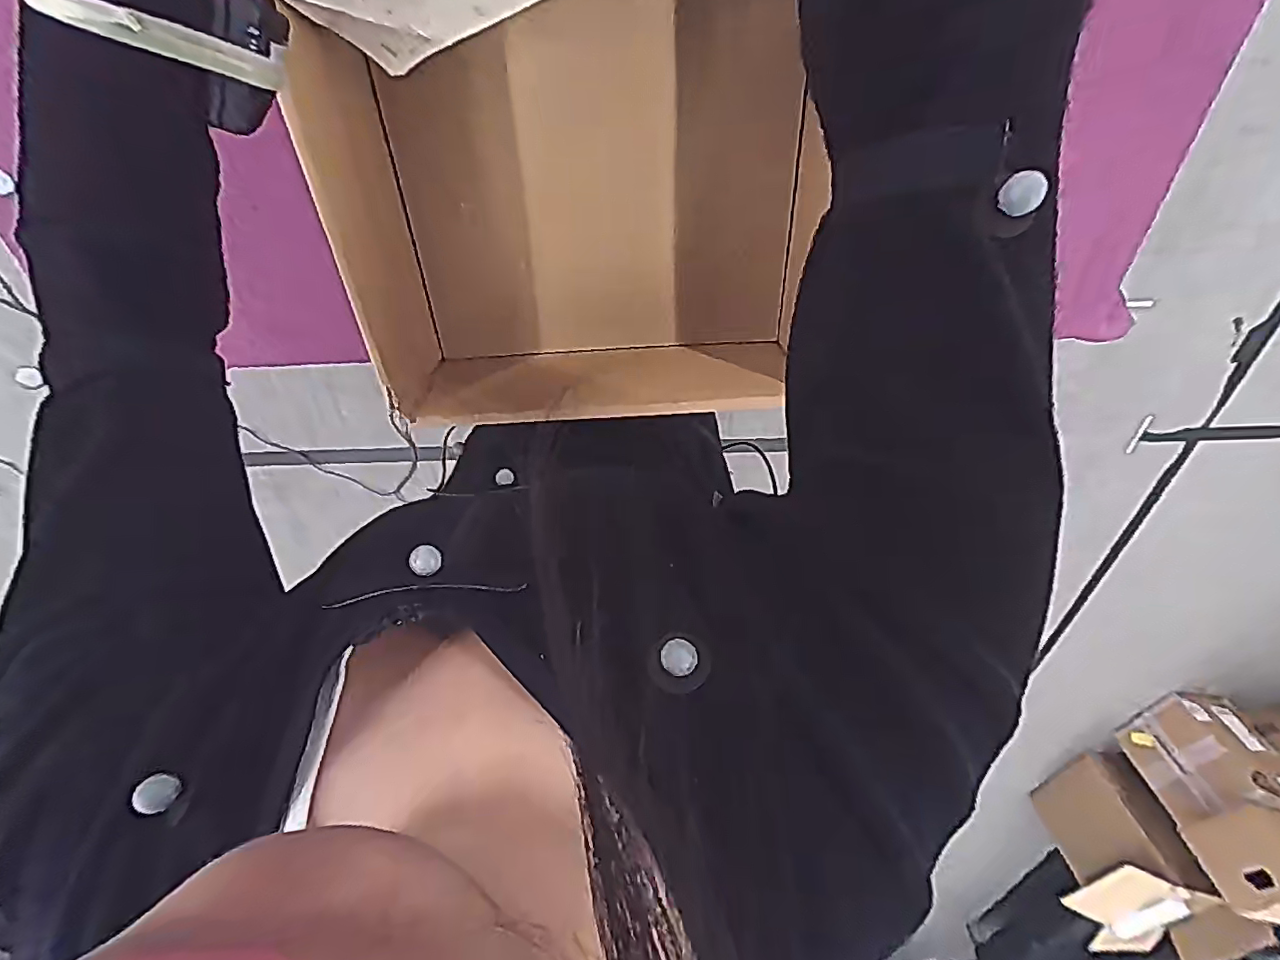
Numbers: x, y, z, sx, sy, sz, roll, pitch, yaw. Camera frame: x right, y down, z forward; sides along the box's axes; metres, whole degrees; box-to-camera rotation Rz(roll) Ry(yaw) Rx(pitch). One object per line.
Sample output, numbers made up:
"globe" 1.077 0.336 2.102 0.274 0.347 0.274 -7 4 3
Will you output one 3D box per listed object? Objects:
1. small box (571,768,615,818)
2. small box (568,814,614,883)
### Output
"small box" -0.187 1.256 2.131 0.168 0.176 0.179 2 127 -5
"small box" -0.180 1.362 2.006 0.168 0.176 0.179 0 125 -3
